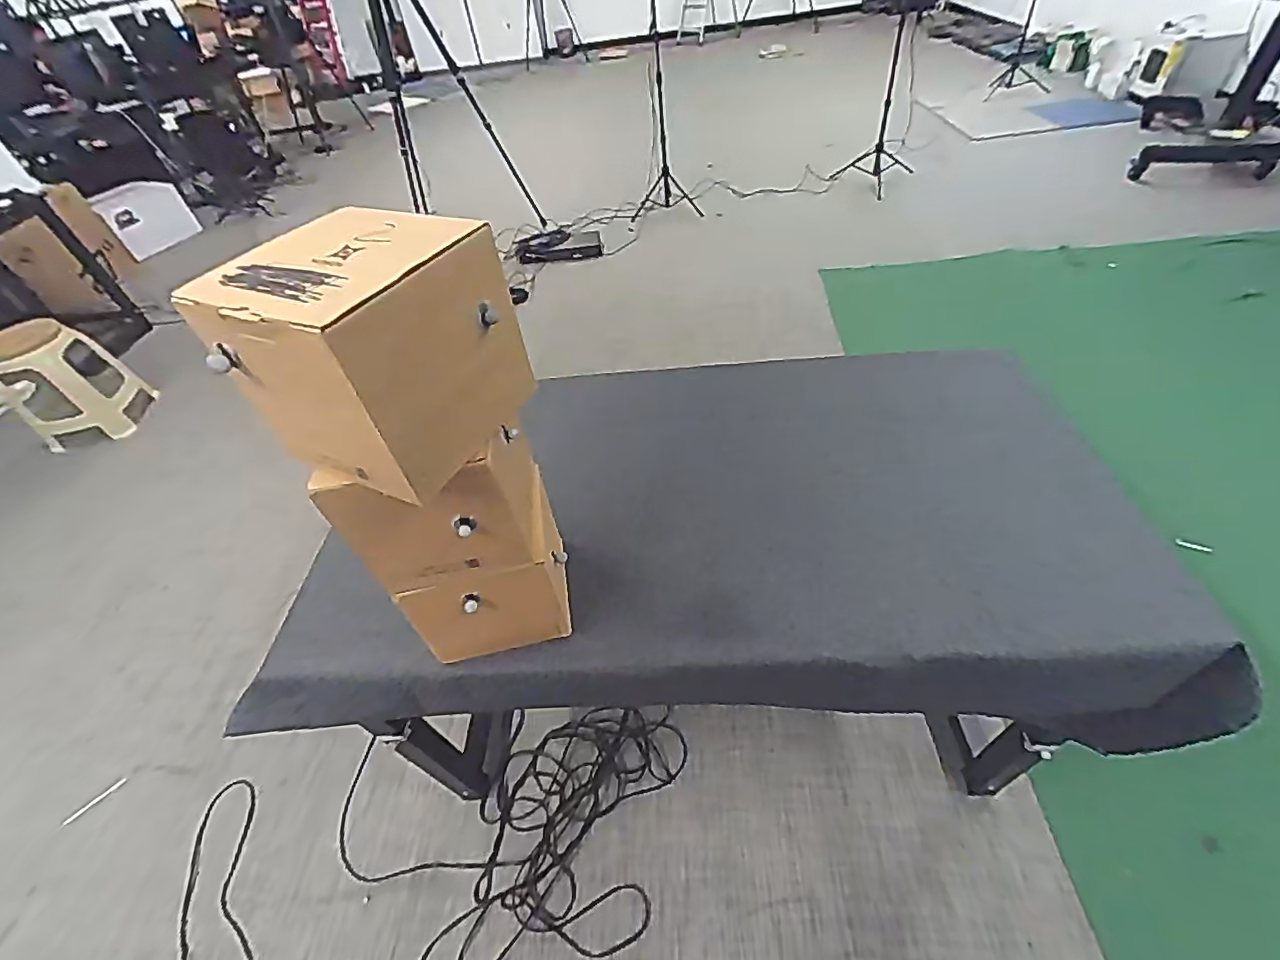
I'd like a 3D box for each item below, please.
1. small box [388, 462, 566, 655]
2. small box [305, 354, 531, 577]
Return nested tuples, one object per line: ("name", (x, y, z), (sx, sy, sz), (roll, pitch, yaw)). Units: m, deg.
("small box", (-0.197, 0.105, 0.707), (0.179, 0.176, 0.168), (-12, 46, -3))
("small box", (-0.220, -0.009, 0.594), (0.168, 0.176, 0.179), (-10, 45, -2))
